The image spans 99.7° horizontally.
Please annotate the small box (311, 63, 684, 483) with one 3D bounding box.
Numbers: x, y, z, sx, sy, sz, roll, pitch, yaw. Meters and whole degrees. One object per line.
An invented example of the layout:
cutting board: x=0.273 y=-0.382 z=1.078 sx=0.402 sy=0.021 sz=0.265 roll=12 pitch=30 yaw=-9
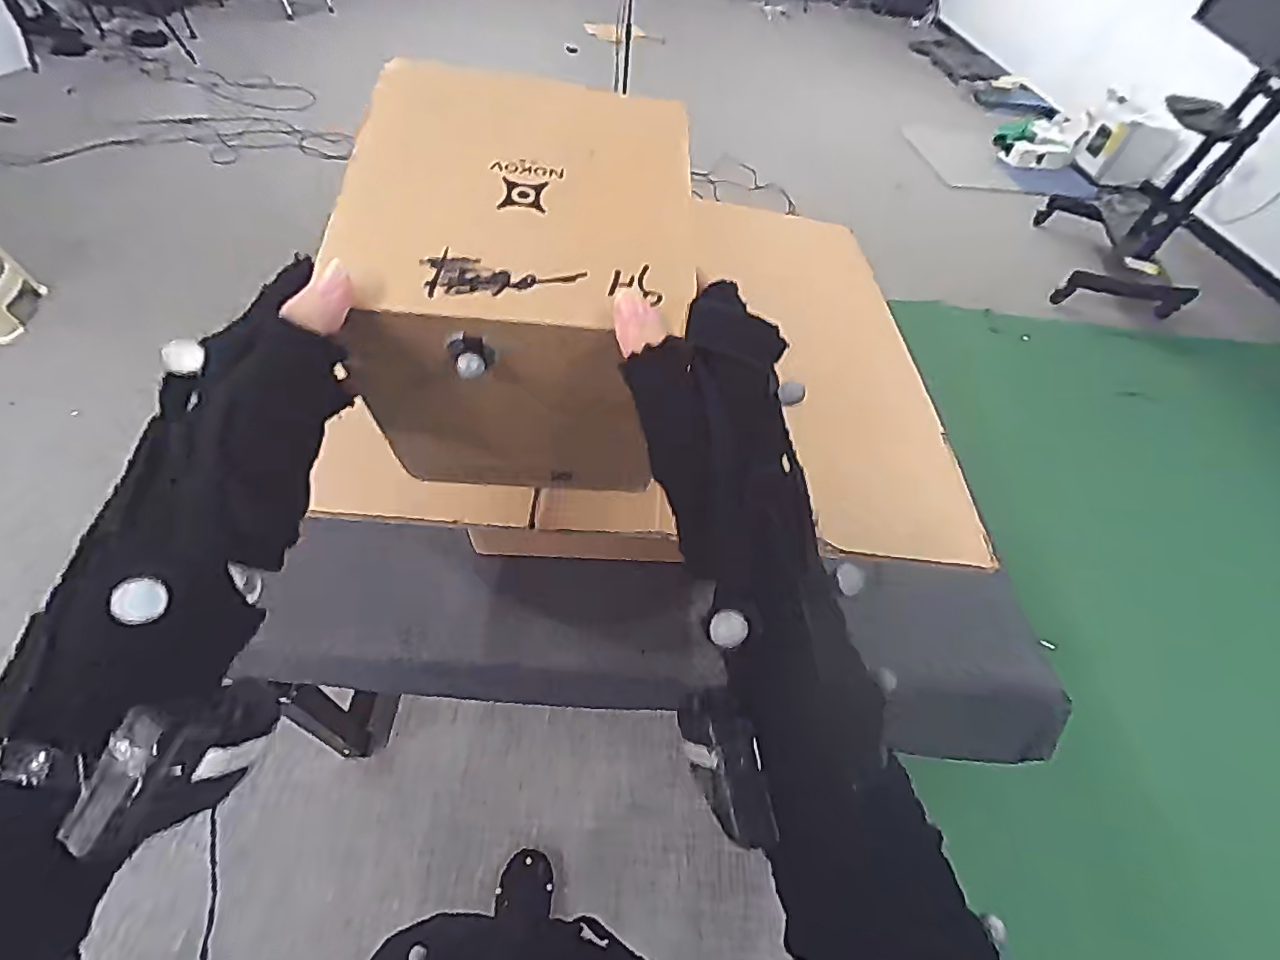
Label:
small box: x=-0.069 y=-0.116 z=0.346 sx=0.168 sy=0.176 sz=0.179 roll=3 pitch=63 yaw=-6
